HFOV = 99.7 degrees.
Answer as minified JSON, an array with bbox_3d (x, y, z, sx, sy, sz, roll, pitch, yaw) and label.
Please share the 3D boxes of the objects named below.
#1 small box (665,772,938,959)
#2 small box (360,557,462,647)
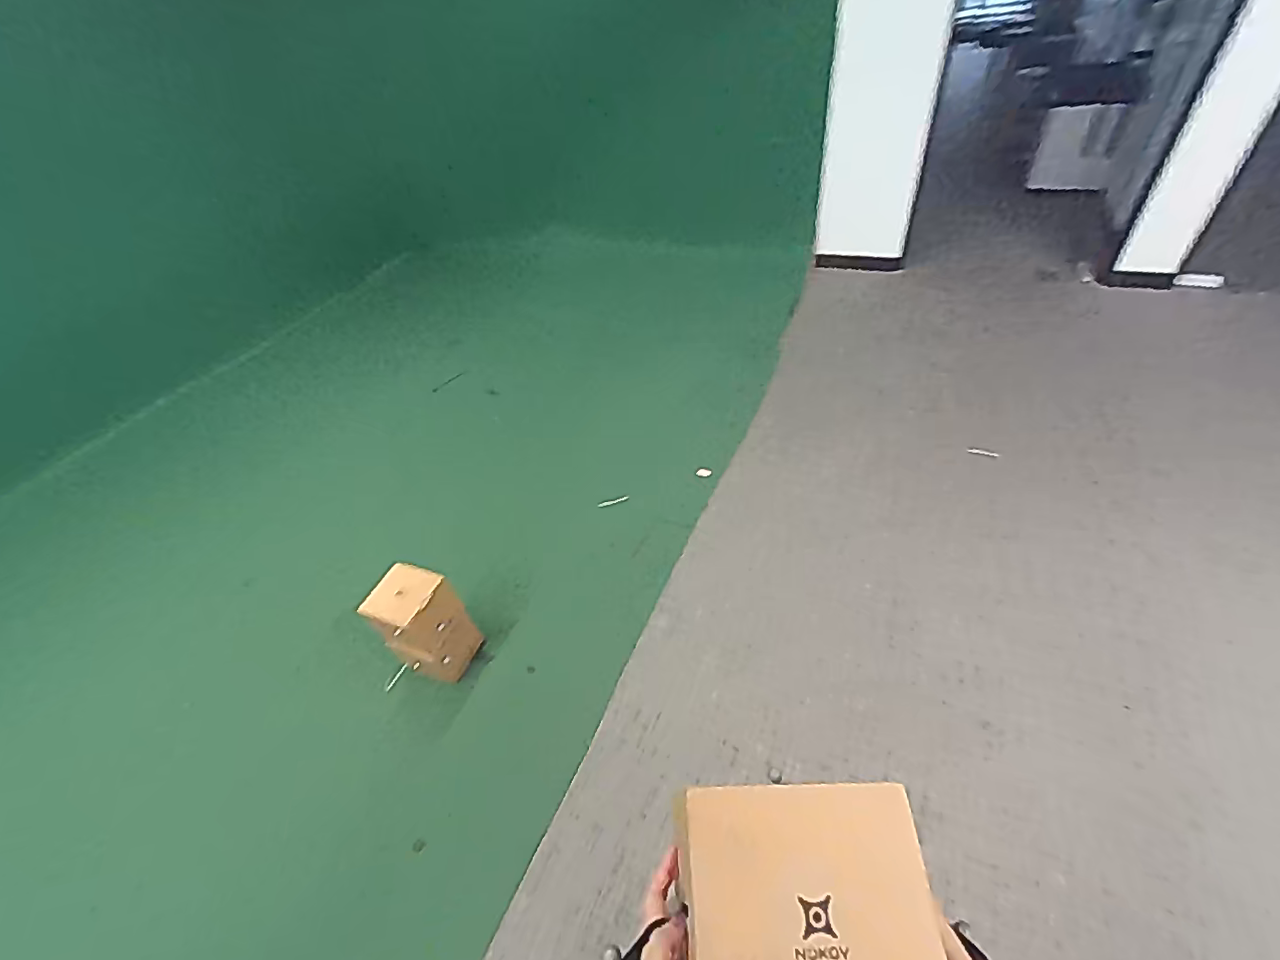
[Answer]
[{"bbox_3d":[0.109,0.337,0.426,0.168,0.176,0.179,-1,59,-1],"label":"small box"},{"bbox_3d":[-0.643,0.350,1.537,0.179,0.176,0.168,12,48,20],"label":"small box"}]
